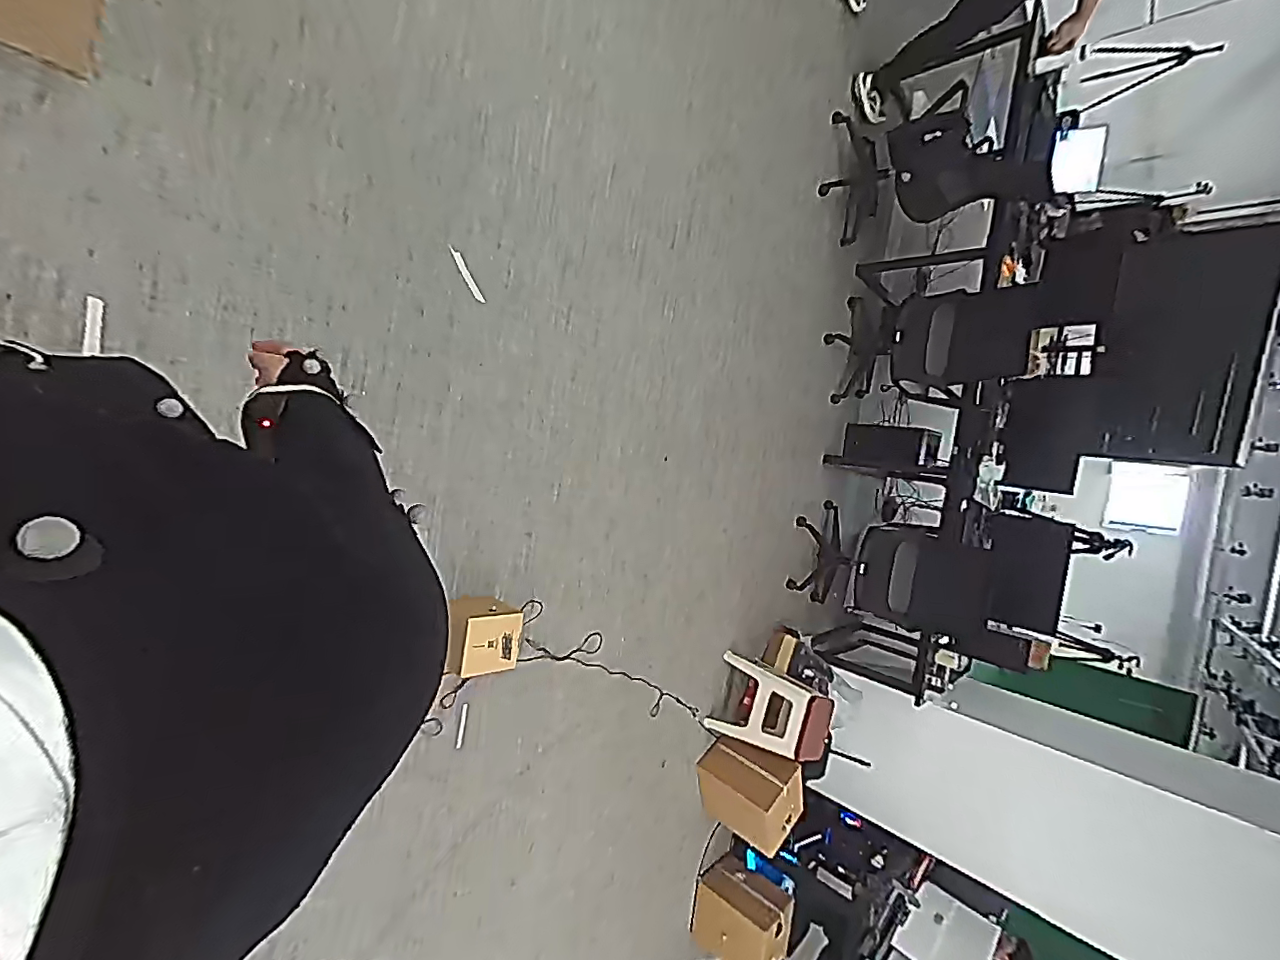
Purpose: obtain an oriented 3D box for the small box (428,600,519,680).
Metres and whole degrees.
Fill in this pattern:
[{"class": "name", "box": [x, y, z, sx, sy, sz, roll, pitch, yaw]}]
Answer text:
[{"class": "small box", "box": [-0.475, 0.446, 1.542, 0.179, 0.176, 0.168, 8, 91, -47]}]
